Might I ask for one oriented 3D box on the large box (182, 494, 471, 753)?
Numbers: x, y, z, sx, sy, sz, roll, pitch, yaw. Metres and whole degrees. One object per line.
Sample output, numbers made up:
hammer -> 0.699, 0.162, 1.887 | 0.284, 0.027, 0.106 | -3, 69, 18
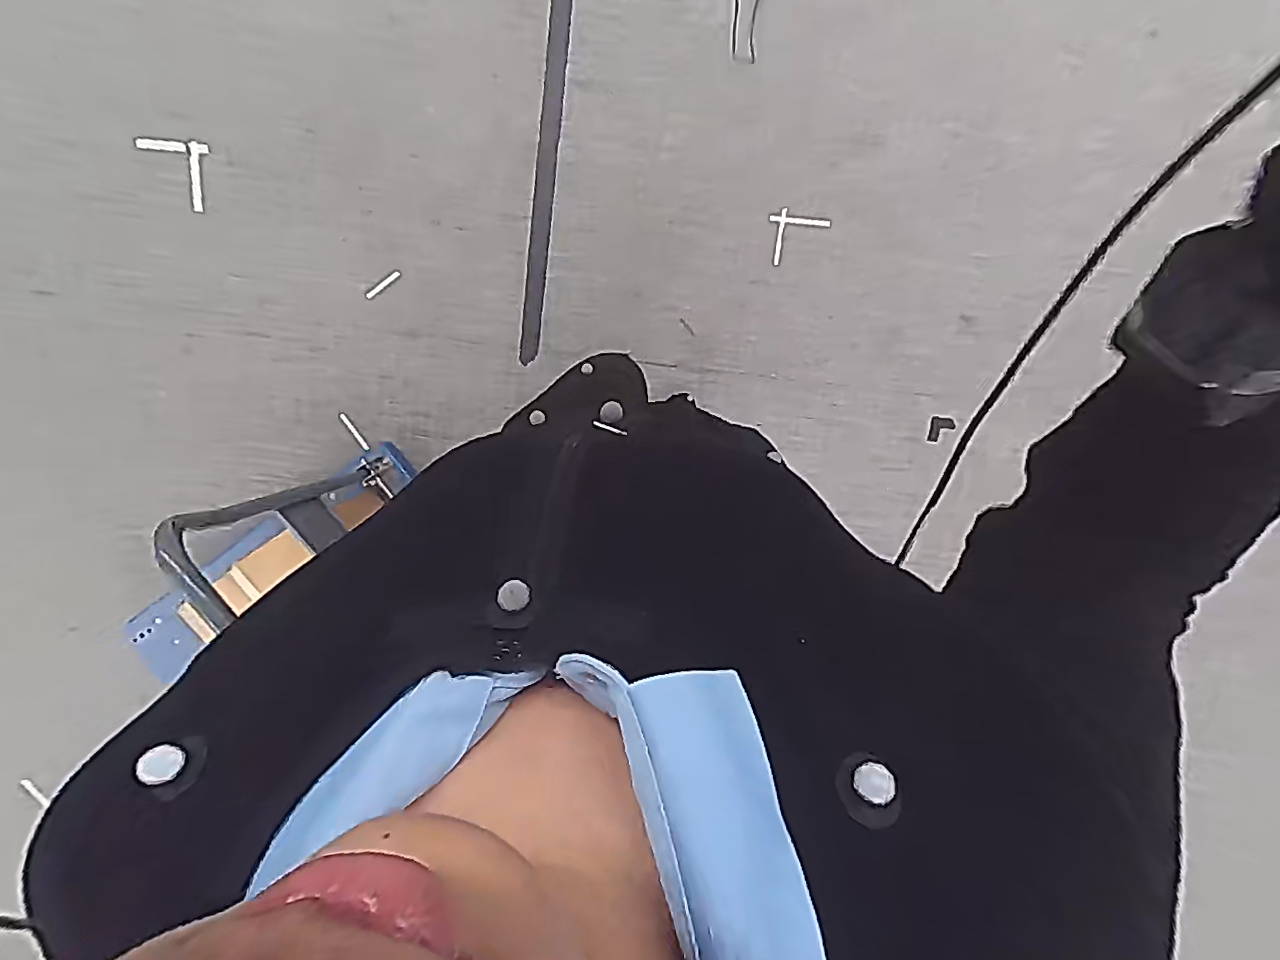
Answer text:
large box -> -0.659, 0.298, 1.216 | 0.320, 0.320, 0.408 | -34, 98, 5
